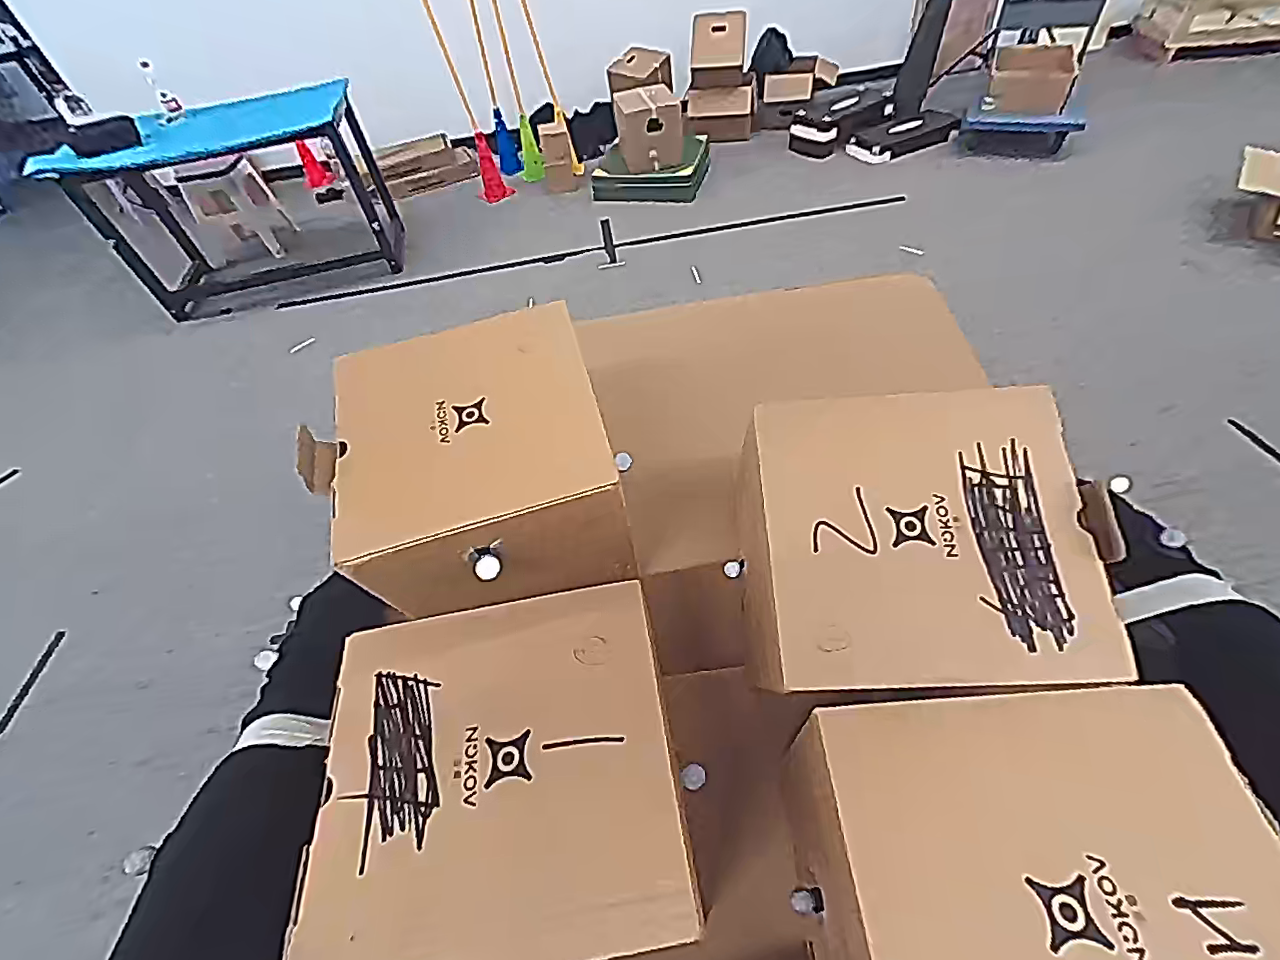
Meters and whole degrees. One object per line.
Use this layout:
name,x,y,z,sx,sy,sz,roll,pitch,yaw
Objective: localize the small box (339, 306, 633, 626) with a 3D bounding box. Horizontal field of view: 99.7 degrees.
small box,-0.109,-0.002,0.432,0.179,0.176,0.168,-17,60,-3
